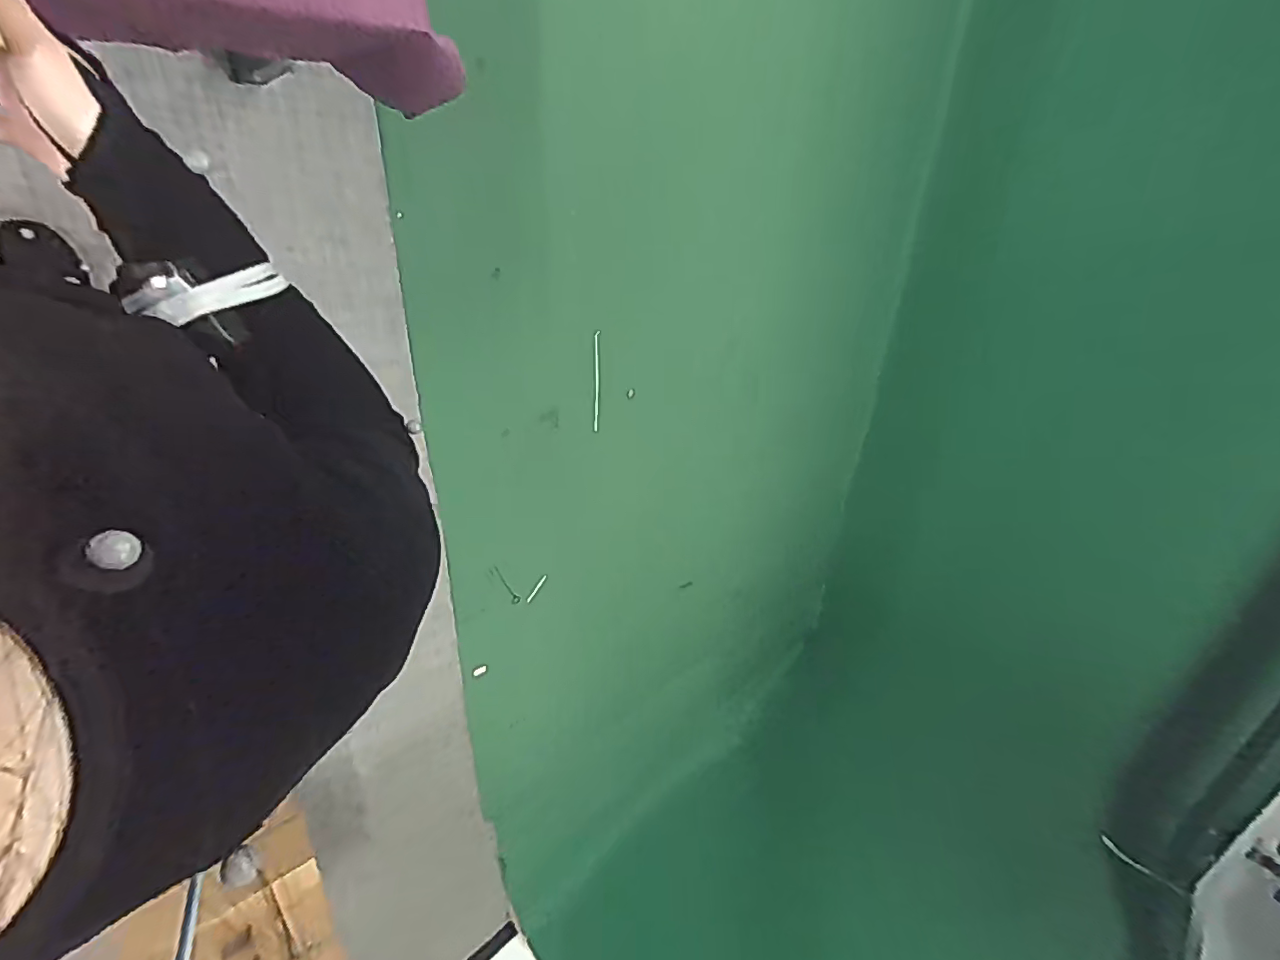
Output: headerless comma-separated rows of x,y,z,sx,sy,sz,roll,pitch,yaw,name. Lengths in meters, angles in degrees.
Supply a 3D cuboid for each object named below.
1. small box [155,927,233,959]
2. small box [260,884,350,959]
-1.061,1.220,1.279,0.168,0.176,0.179,-13,122,-41,small box
-0.908,1.261,1.470,0.168,0.176,0.179,-16,124,-42,small box
